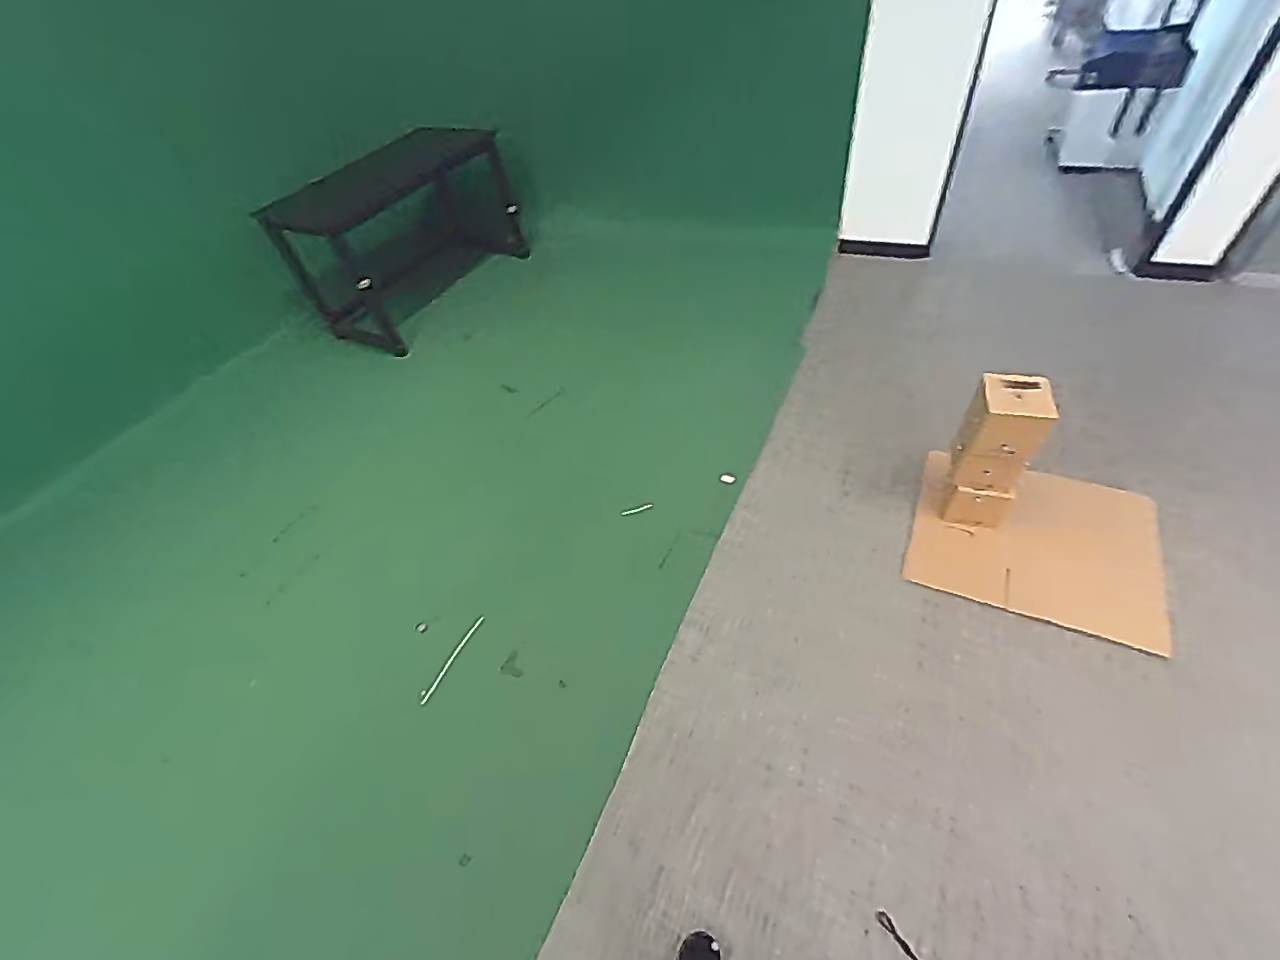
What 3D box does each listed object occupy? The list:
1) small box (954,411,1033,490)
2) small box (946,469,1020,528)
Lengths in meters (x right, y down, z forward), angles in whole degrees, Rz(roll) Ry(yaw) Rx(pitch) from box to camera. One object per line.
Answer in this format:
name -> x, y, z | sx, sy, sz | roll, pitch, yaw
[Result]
small box -> 1.104, -0.090, 1.701 | 0.168, 0.176, 0.179 | 10, 51, 17
small box -> 1.138, 0.033, 1.808 | 0.168, 0.176, 0.179 | 9, 51, 18
